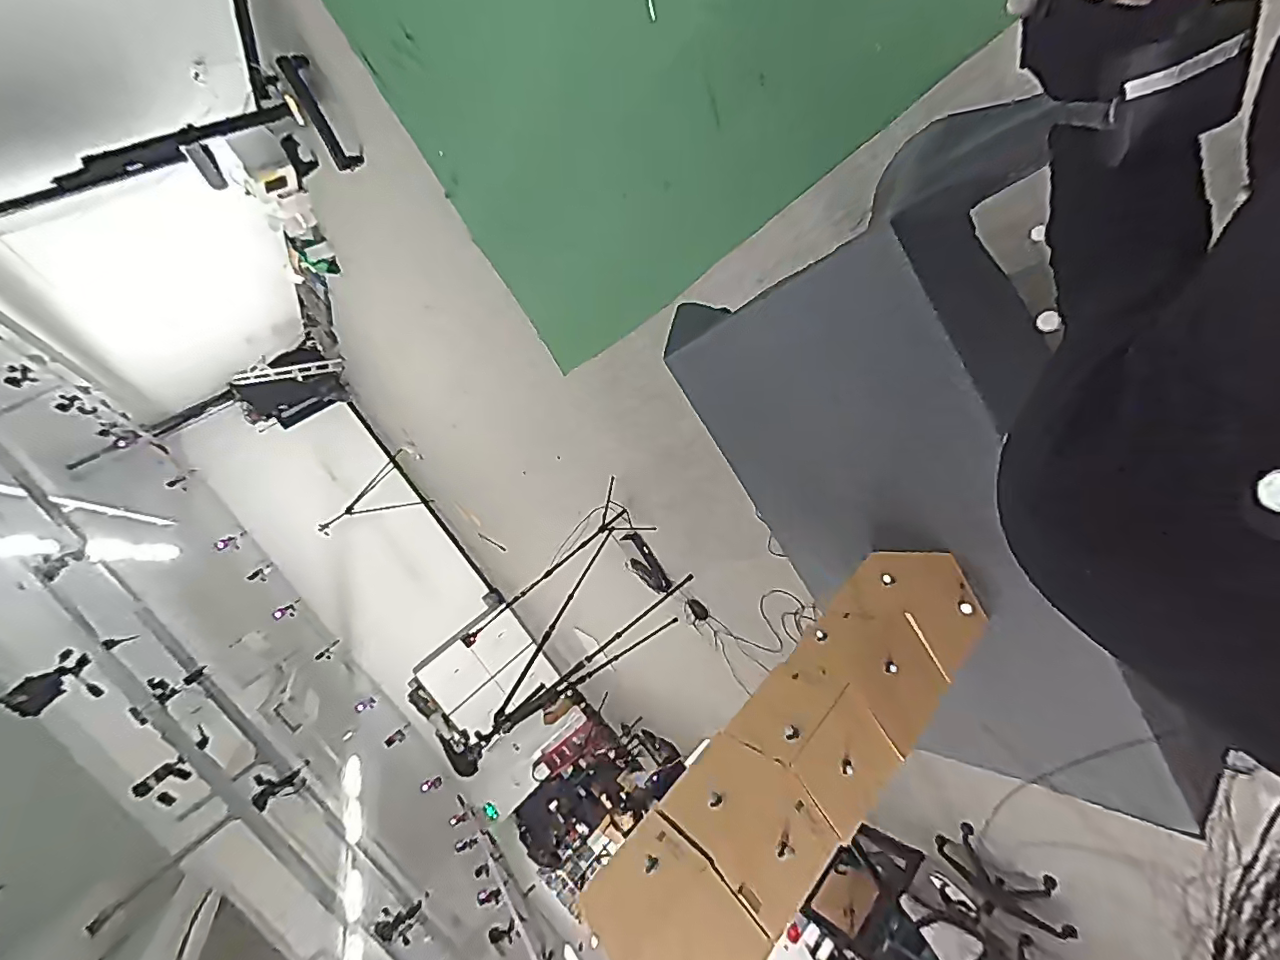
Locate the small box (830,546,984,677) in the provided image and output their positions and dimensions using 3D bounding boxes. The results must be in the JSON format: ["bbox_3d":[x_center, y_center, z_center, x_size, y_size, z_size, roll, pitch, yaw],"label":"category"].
[{"bbox_3d":[0.508,0.239,1.030,0.168,0.176,0.179,56,152,-11],"label":"small box"}]

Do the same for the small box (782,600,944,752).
[{"bbox_3d":[0.395,0.334,0.961,0.179,0.176,0.168,55,154,-9],"label":"small box"}]

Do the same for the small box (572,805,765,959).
[{"bbox_3d":[0.042,0.612,0.759,0.179,0.176,0.168,56,154,-11],"label":"small box"}]

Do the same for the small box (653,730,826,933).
[{"bbox_3d":[0.158,0.521,0.835,0.168,0.176,0.179,56,153,-10],"label":"small box"}]
